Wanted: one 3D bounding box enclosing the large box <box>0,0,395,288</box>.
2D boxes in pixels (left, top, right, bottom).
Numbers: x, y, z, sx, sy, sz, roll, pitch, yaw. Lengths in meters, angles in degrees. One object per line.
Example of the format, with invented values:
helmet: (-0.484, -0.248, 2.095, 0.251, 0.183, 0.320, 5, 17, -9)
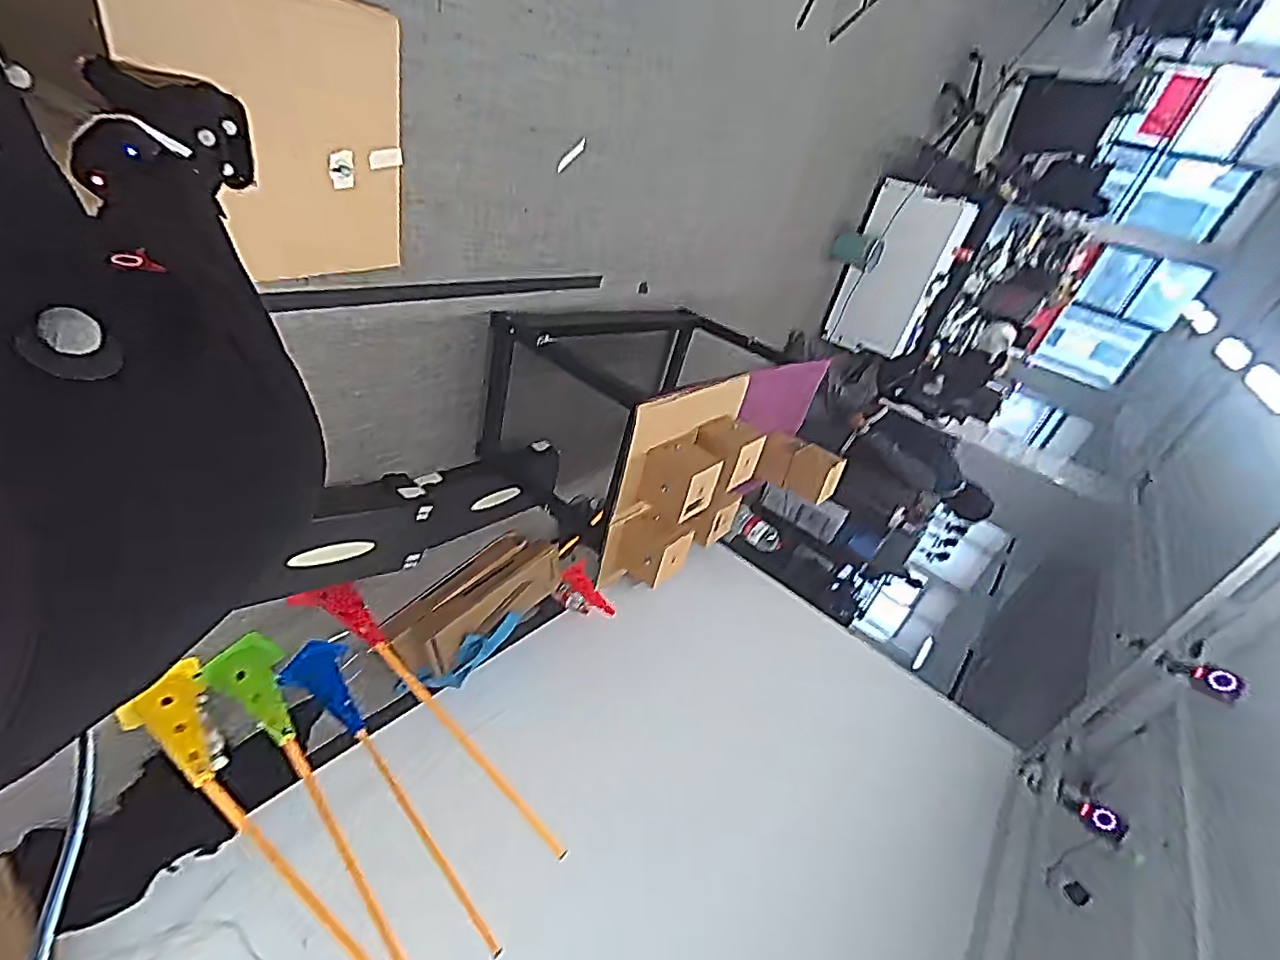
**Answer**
large box: (-0.585, -0.489, 0.703, 0.320, 0.408, 0.320, -37, 152, -49)
